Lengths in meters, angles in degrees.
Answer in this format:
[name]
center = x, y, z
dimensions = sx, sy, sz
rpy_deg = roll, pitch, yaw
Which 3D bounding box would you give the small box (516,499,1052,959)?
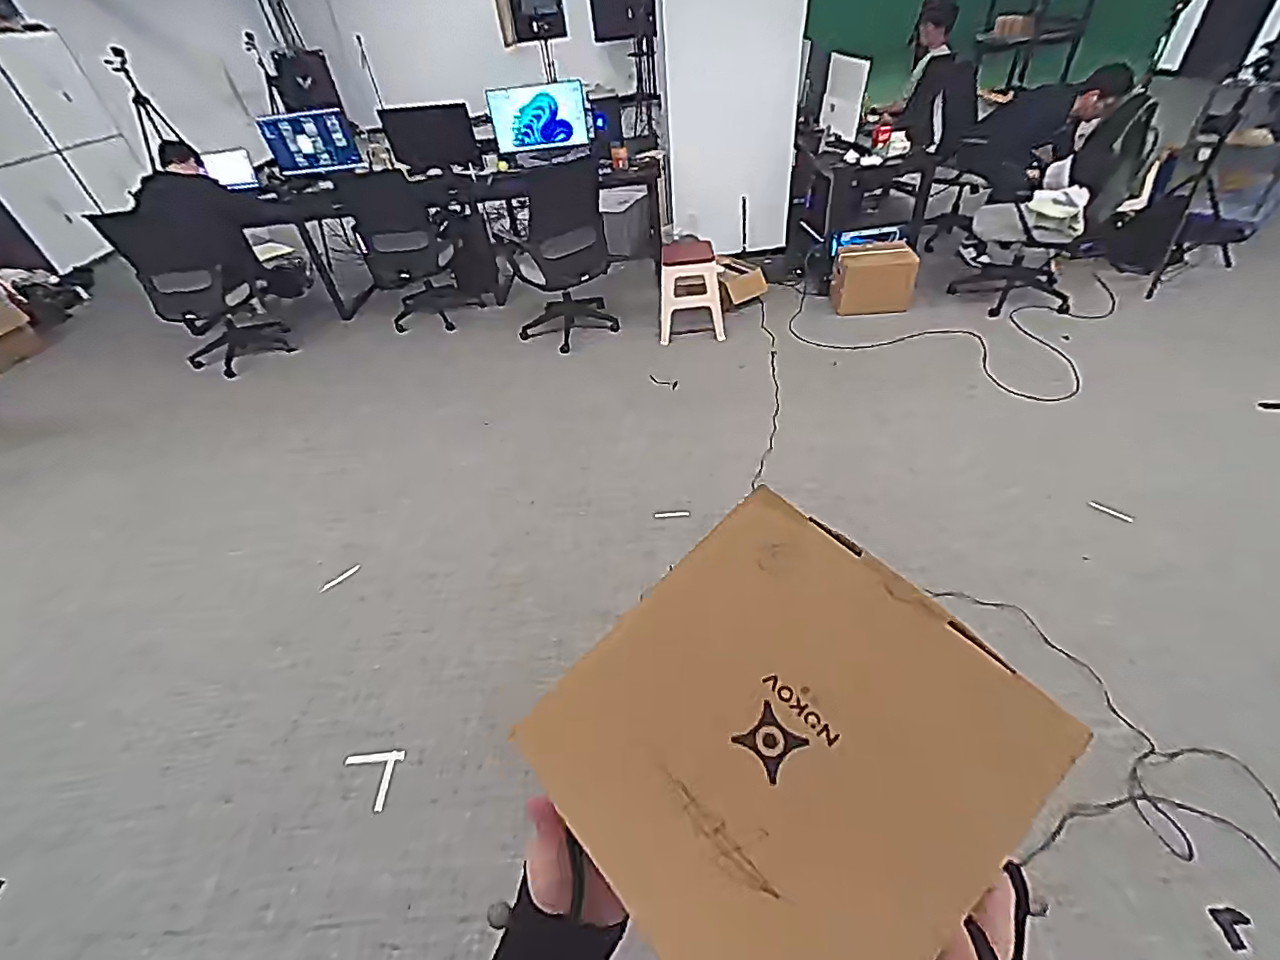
[small box]
center = 0.068, 0.149, 0.307
dimensions = 0.179, 0.176, 0.168
rpy_deg = -44, 62, -12
